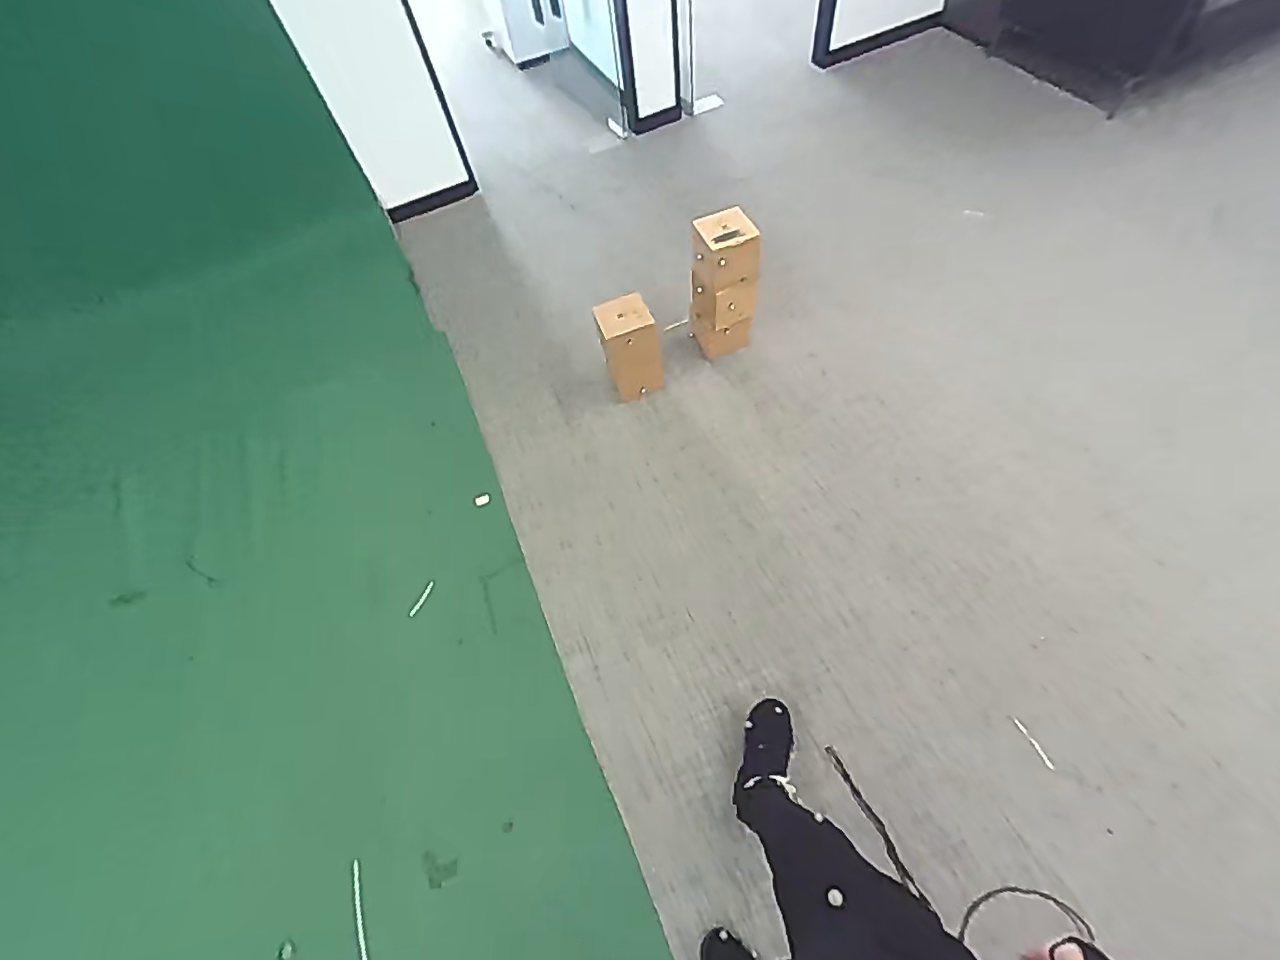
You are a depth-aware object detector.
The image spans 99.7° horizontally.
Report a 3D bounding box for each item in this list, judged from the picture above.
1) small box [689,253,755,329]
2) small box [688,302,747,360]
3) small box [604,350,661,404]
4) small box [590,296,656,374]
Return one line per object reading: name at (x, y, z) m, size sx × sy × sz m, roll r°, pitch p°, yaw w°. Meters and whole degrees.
small box at (0.290, -0.662, 1.917) m, size 0.168 × 0.176 × 0.179 m, roll -26°, pitch 59°, yaw -8°
small box at (0.297, -0.588, 2.061) m, size 0.179 × 0.176 × 0.168 m, roll -22°, pitch 59°, yaw -7°
small box at (-0.027, -0.412, 2.000) m, size 0.179 × 0.176 × 0.168 m, roll -21°, pitch 58°, yaw -6°
small box at (-0.054, -0.495, 1.859) m, size 0.179 × 0.176 × 0.168 m, roll -21°, pitch 59°, yaw -5°
